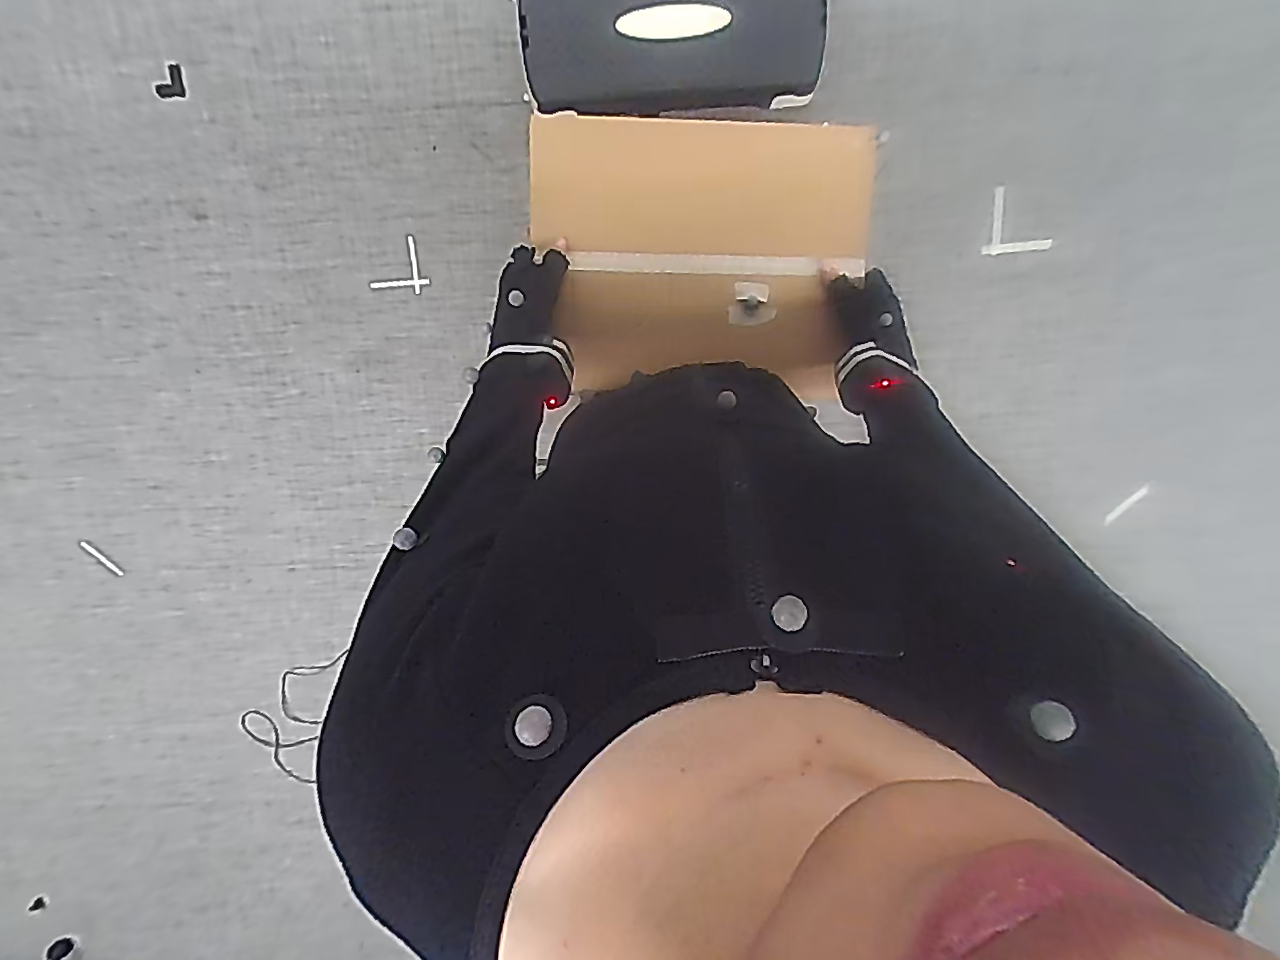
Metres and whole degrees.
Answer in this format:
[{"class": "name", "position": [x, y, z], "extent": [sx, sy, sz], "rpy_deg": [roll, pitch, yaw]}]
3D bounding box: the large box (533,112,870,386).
[{"class": "large box", "position": [0.068, -0.303, 0.806], "extent": [0.408, 0.320, 0.320], "rpy_deg": [2, 102, -1]}]
